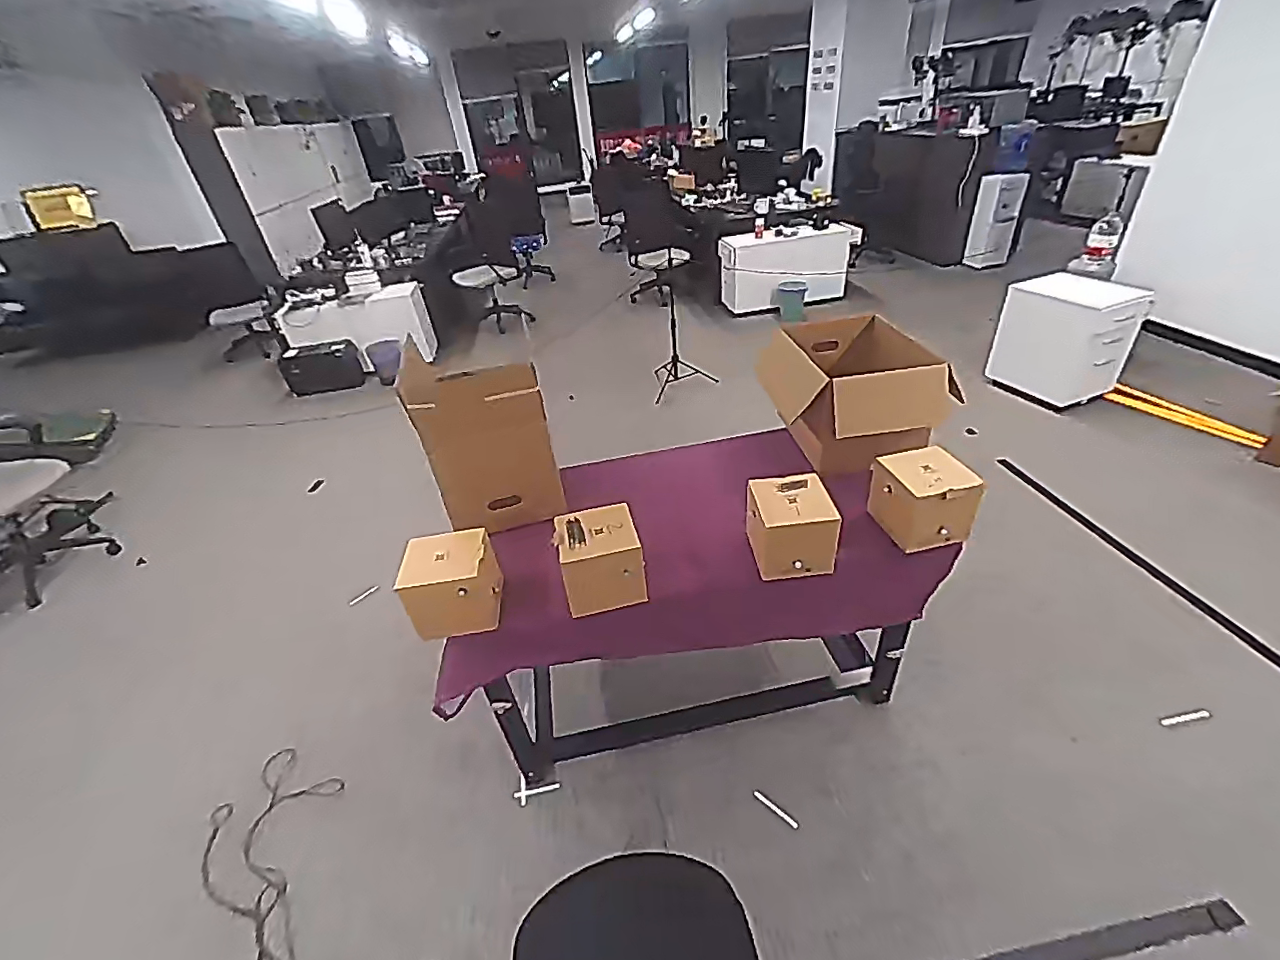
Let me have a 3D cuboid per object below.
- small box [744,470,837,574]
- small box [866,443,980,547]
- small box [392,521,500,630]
[{"bbox_3d":[0.344,0.098,1.272,0.168,0.176,0.179,-6,37,0],"label":"small box"},{"bbox_3d":[0.670,0.036,1.304,0.168,0.176,0.179,-11,36,-4],"label":"small box"},{"bbox_3d":[-0.429,0.218,1.225,0.179,0.176,0.168,-8,35,-4],"label":"small box"}]
